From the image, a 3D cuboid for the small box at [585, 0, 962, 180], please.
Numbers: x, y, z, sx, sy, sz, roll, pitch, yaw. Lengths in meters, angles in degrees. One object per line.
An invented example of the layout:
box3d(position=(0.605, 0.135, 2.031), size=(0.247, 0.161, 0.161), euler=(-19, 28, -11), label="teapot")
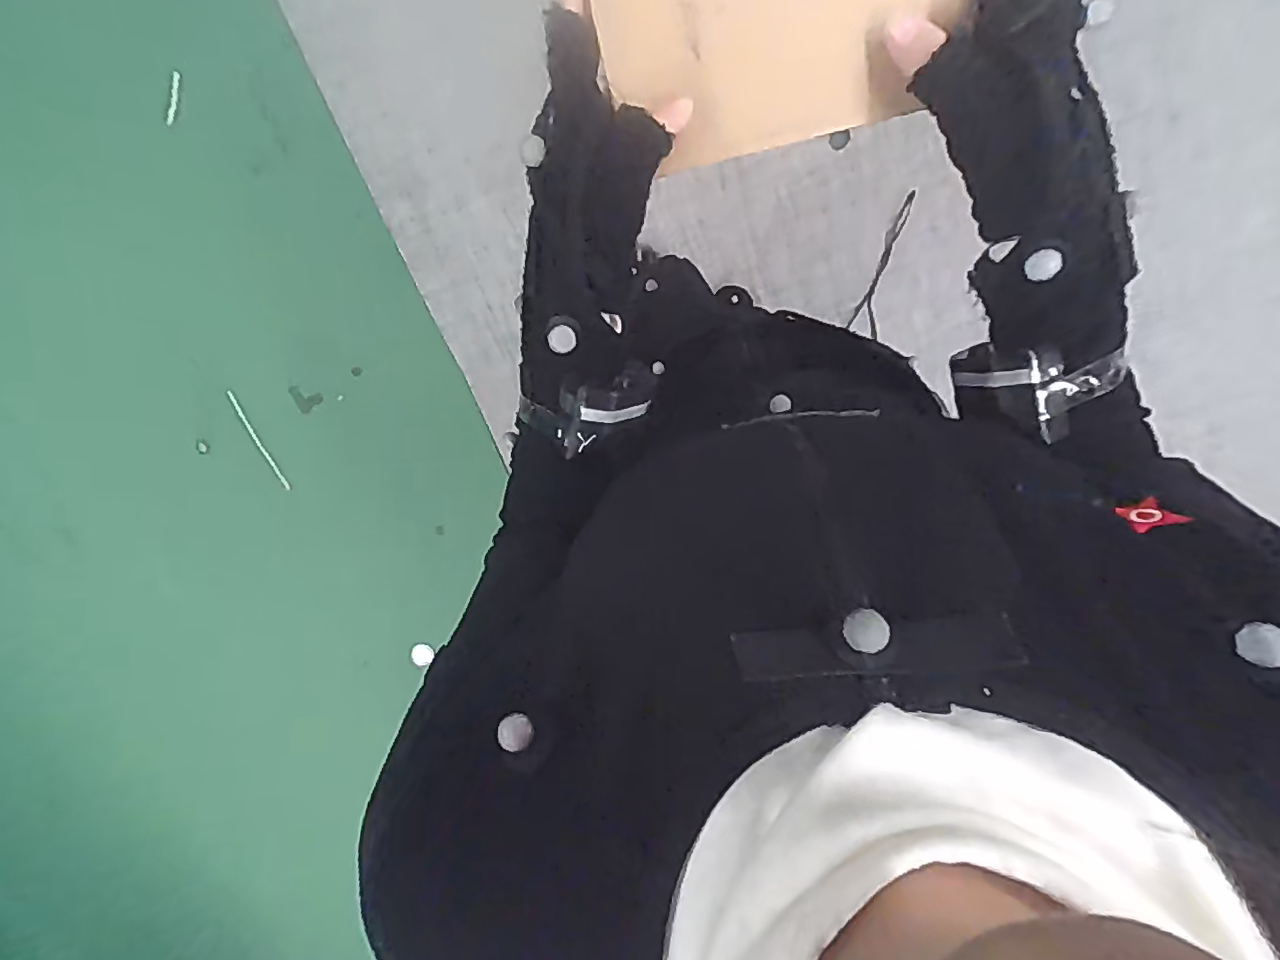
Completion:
box3d(position=(0.061, -0.291, 0.309), size=(0.179, 0.176, 0.168), euler=(-9, 123, 11), label="small box")
